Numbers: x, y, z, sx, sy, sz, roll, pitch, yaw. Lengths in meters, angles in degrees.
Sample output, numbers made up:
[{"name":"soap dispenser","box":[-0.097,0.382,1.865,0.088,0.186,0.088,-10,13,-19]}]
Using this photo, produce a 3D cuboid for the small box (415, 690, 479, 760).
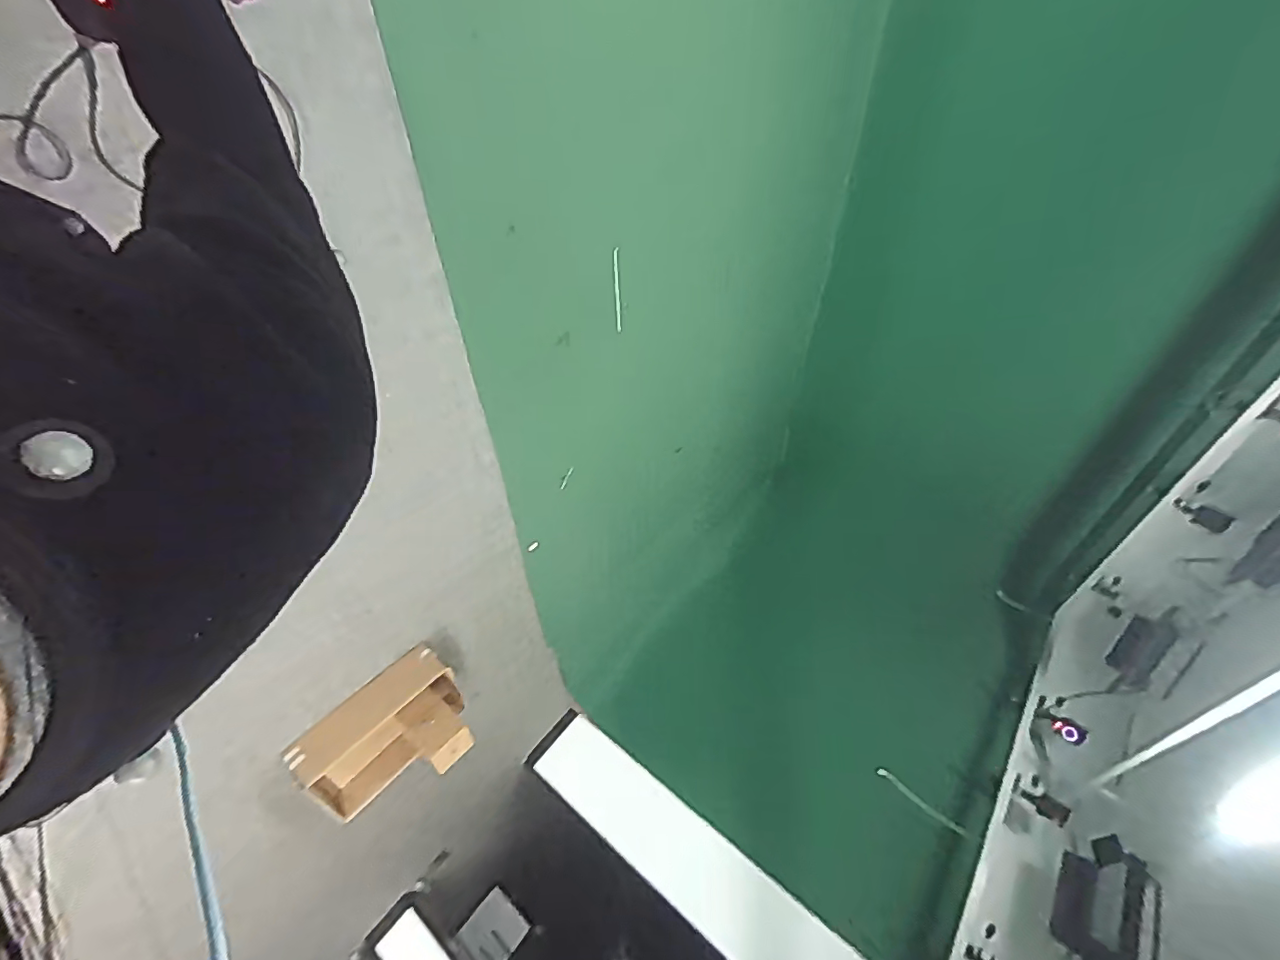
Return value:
[{"name":"small box","box":[-0.799,1.008,2.237,0.168,0.176,0.179,-39,145,-36]}]
